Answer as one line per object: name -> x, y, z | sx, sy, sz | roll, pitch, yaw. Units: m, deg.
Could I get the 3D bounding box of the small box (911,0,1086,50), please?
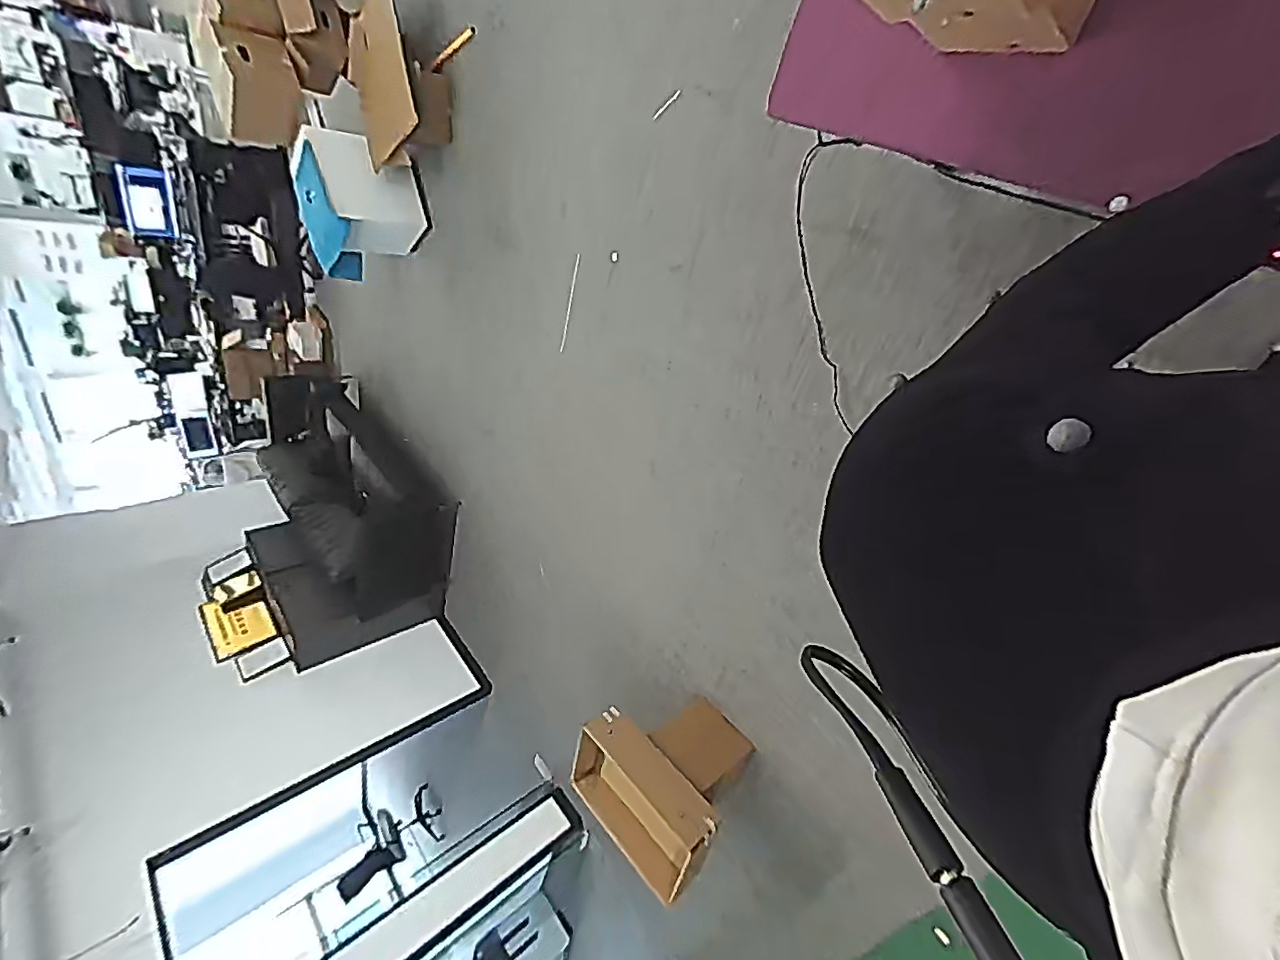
small box -> 0.415, -0.613, 0.597 | 0.168, 0.176, 0.179 | 35, 125, 35

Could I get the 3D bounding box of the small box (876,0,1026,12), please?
small box -> 0.295, -0.563, 0.494 | 0.168, 0.176, 0.179 | 35, 126, 33
